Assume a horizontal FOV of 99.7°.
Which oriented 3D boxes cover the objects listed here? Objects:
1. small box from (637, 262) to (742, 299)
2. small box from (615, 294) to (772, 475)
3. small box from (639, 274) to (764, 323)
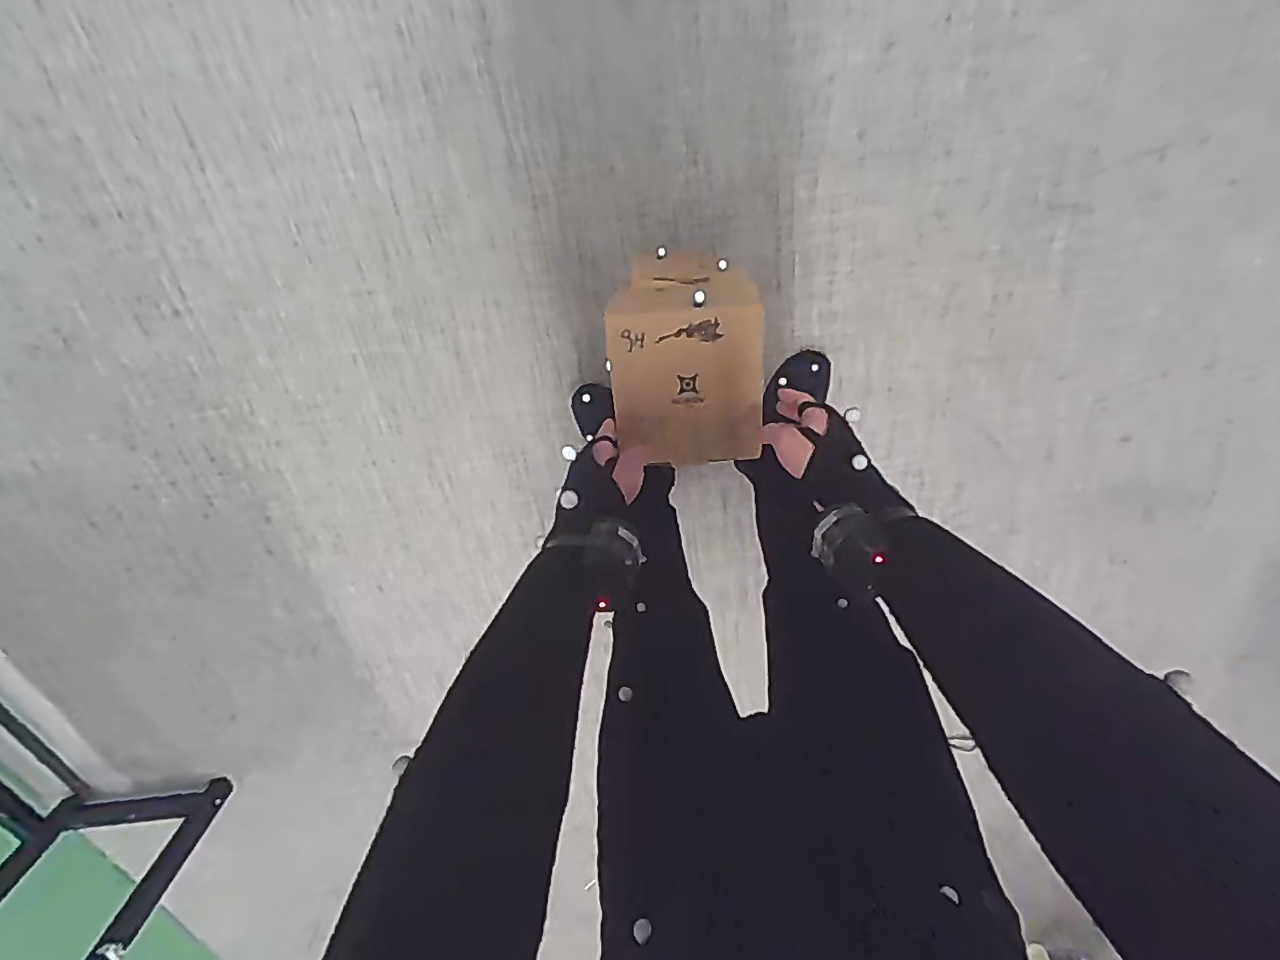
[{"bbox_3d":[0.075,-0.281,0.957,0.168,0.176,0.179,4,119,-1],"label":"small box"},{"bbox_3d":[0.062,-0.122,0.671,0.168,0.176,0.179,-2,118,3],"label":"small box"},{"bbox_3d":[0.074,-0.203,0.812,0.168,0.176,0.179,5,119,-2],"label":"small box"}]
